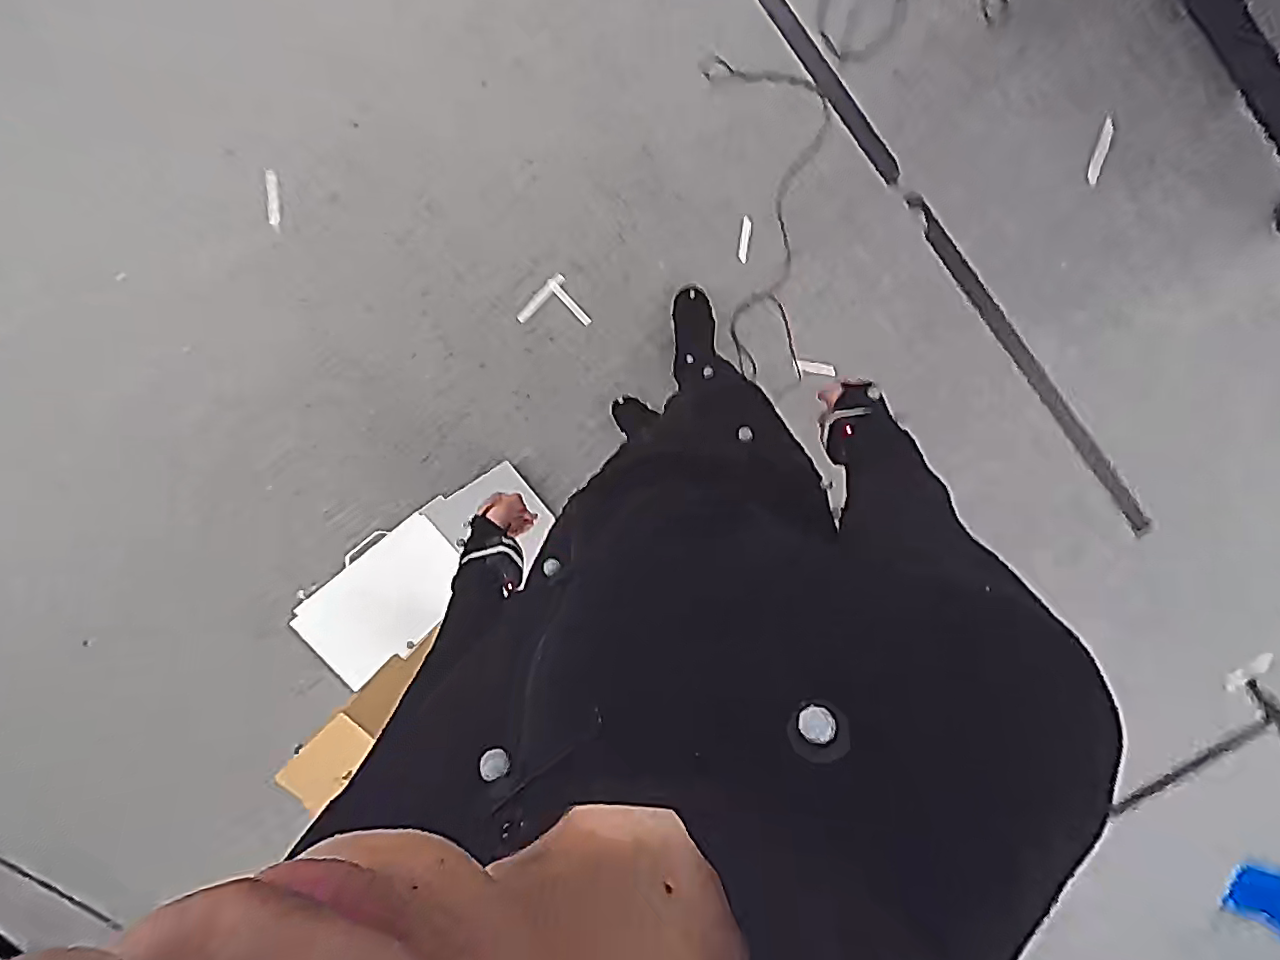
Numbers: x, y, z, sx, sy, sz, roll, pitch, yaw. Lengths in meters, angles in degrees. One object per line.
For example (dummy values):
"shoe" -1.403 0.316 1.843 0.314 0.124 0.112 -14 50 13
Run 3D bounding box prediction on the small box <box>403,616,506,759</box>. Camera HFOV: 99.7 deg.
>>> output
"small box" -0.389 0.398 1.048 0.179 0.176 0.168 44 101 -6

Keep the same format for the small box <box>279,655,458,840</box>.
"small box" -0.428 0.427 0.890 0.168 0.176 0.179 45 102 -7
